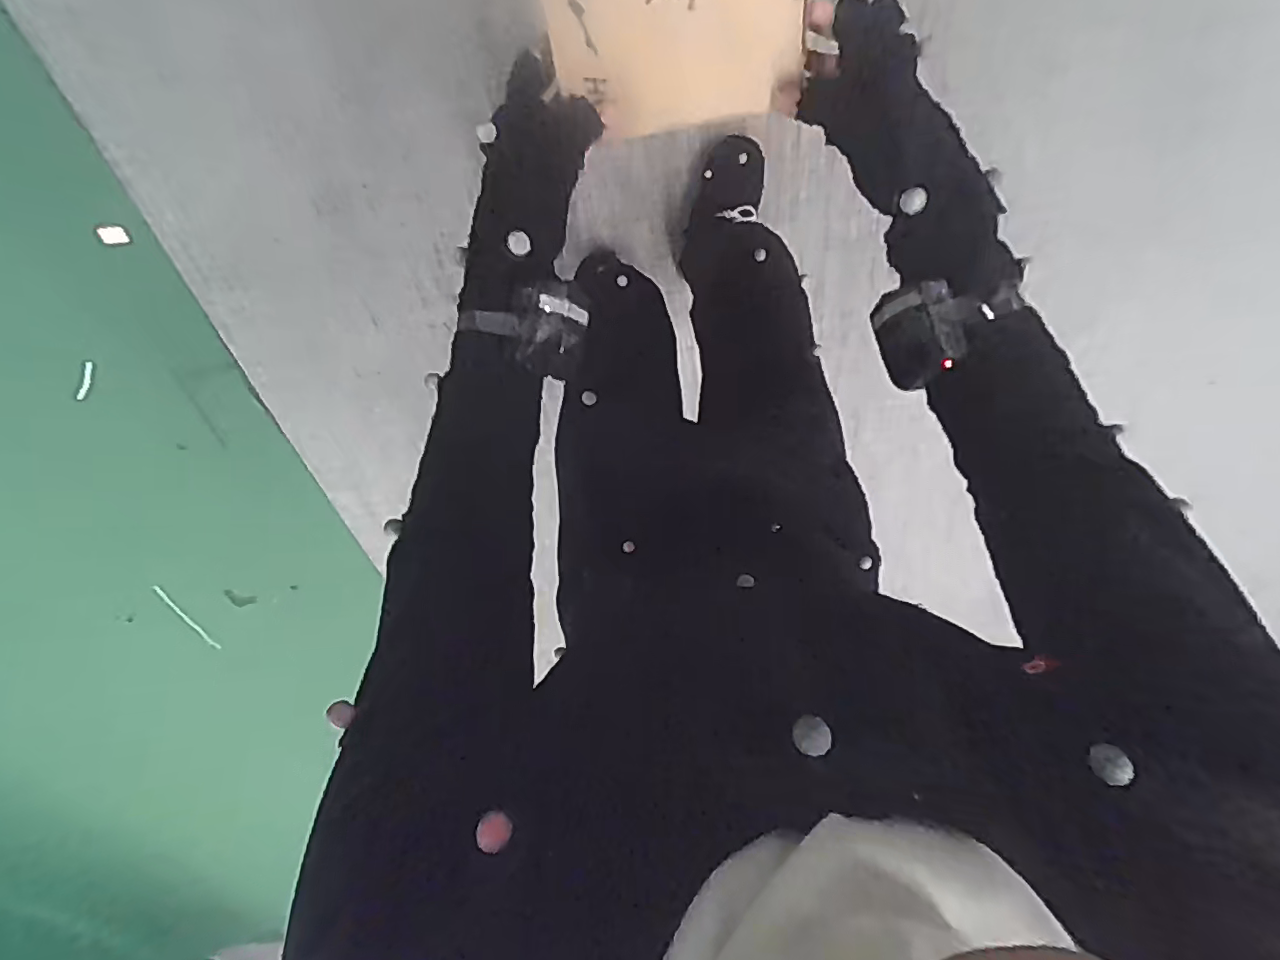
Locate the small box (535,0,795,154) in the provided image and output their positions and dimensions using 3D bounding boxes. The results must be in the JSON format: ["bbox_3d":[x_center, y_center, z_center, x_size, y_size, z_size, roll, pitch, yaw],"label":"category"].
[{"bbox_3d":[0.012,-0.372,0.421,0.179,0.176,0.168,-8,128,3],"label":"small box"}]
